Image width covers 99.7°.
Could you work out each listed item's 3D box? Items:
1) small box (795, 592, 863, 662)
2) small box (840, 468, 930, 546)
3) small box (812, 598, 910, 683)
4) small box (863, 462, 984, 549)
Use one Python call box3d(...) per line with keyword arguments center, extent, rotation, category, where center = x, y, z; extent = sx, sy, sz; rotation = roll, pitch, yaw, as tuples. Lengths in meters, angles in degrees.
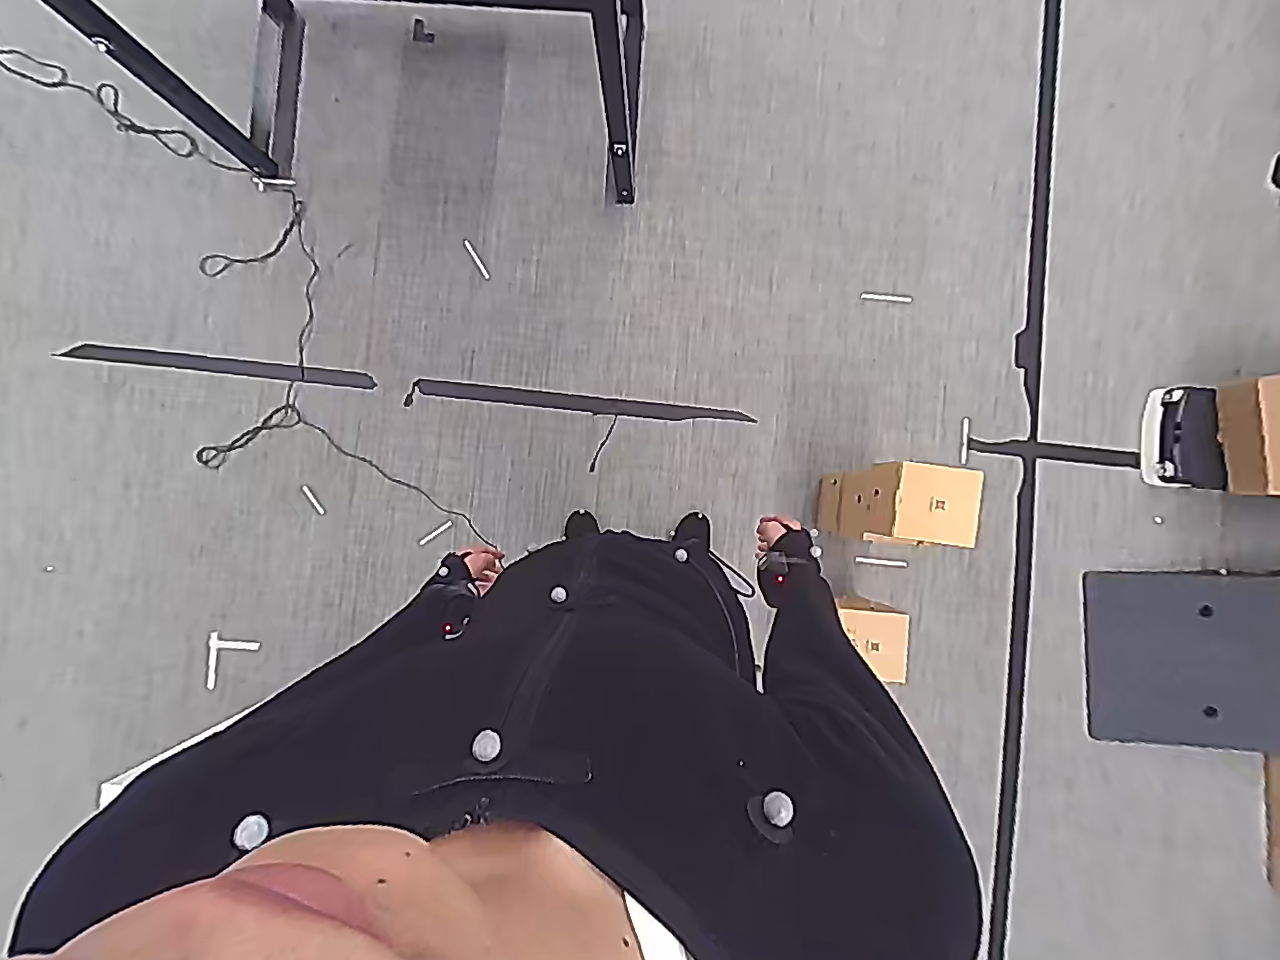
box3d(center=(0.555, 0.417, 1.538), extent=(0.179, 0.176, 0.168), rotation=(4, 87, 2), category="small box")
box3d(center=(0.624, 0.067, 1.378), extent=(0.168, 0.176, 0.179), rotation=(6, 90, 1), category="small box")
box3d(center=(0.555, 0.401, 1.374), extent=(0.179, 0.176, 0.168), rotation=(5, 88, 2), category="small box")
box3d(center=(0.628, 0.054, 1.216), extent=(0.179, 0.176, 0.168), rotation=(8, 89, 2), category="small box")
